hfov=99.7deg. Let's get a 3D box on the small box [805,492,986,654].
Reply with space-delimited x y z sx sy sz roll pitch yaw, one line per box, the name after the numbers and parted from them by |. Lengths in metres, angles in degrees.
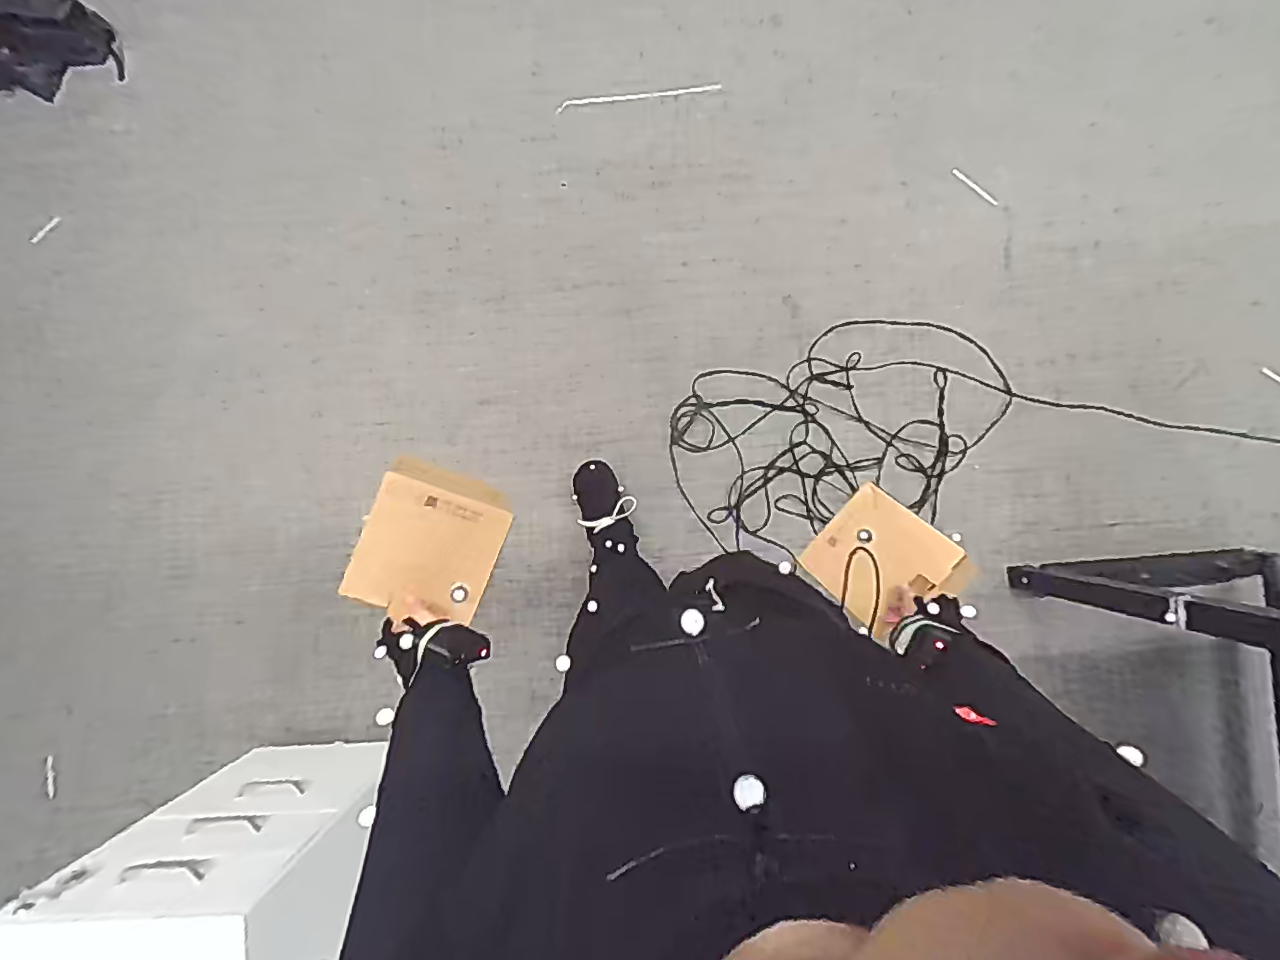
0.390 0.142 0.832 0.168 0.179 0.176 -51 49 10 | small box
